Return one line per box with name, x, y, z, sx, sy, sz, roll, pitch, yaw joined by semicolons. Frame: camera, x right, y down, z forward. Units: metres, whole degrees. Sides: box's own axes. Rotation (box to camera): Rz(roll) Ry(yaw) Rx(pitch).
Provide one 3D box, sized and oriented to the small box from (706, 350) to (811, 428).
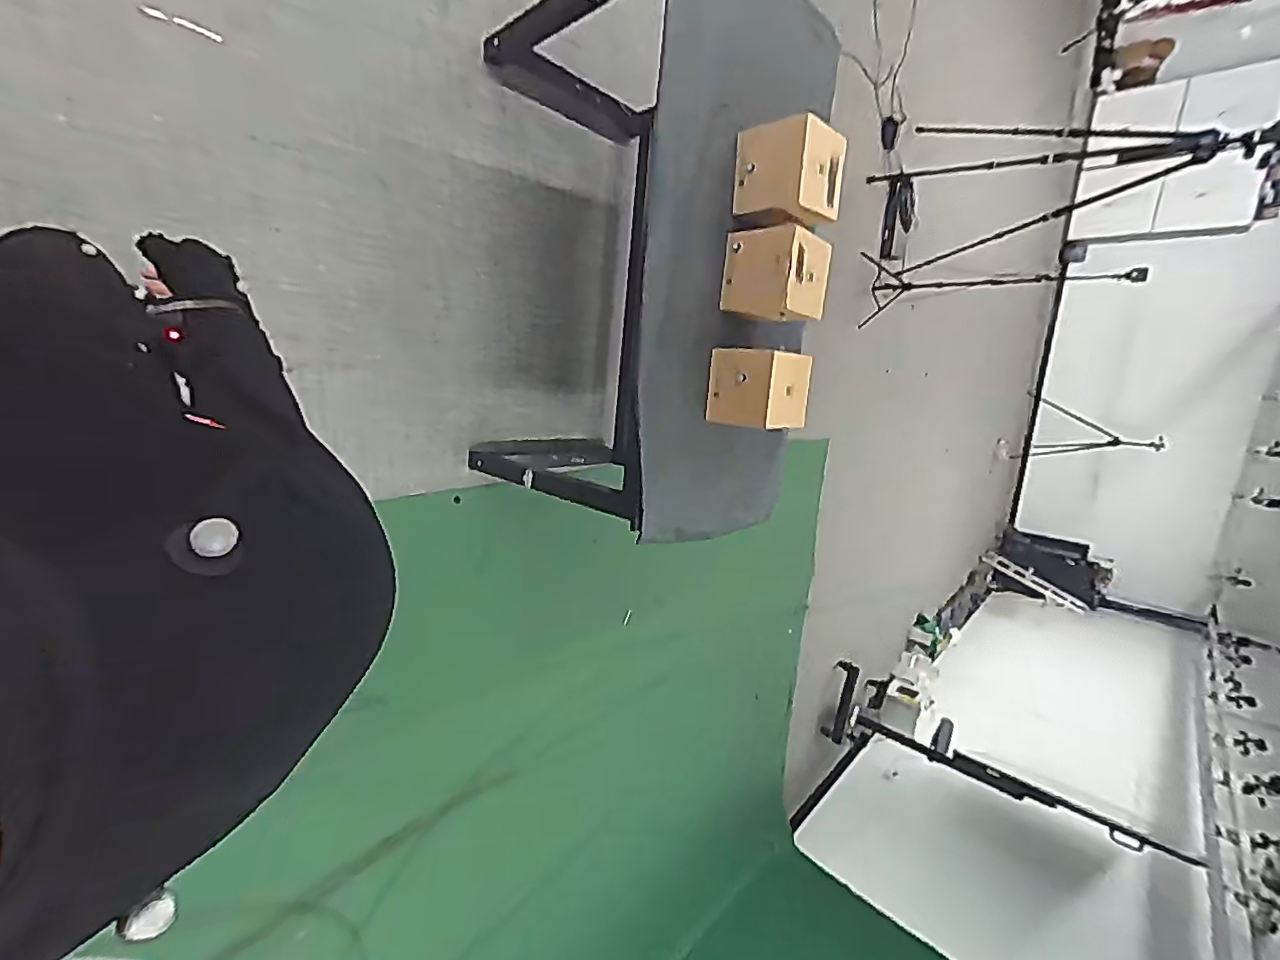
small box;0.272;-0.211;1.258;0.179;0.176;0.168;-8;107;-46
